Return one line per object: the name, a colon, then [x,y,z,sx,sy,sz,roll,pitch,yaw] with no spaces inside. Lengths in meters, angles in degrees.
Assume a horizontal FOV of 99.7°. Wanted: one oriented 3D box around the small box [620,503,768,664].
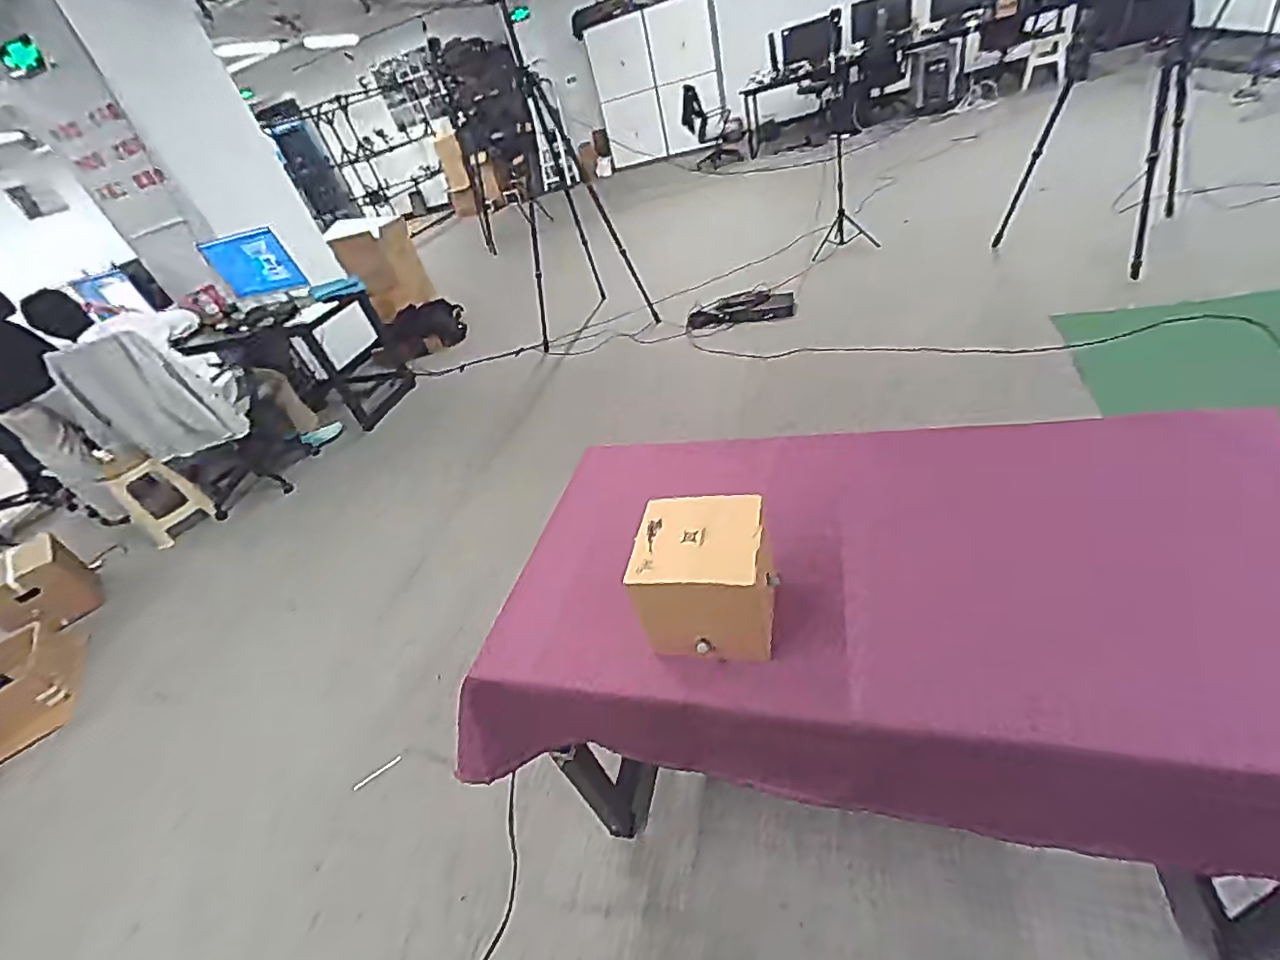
small box: [0.091,0.151,0.793,0.179,0.176,0.168,-2,39,19]
